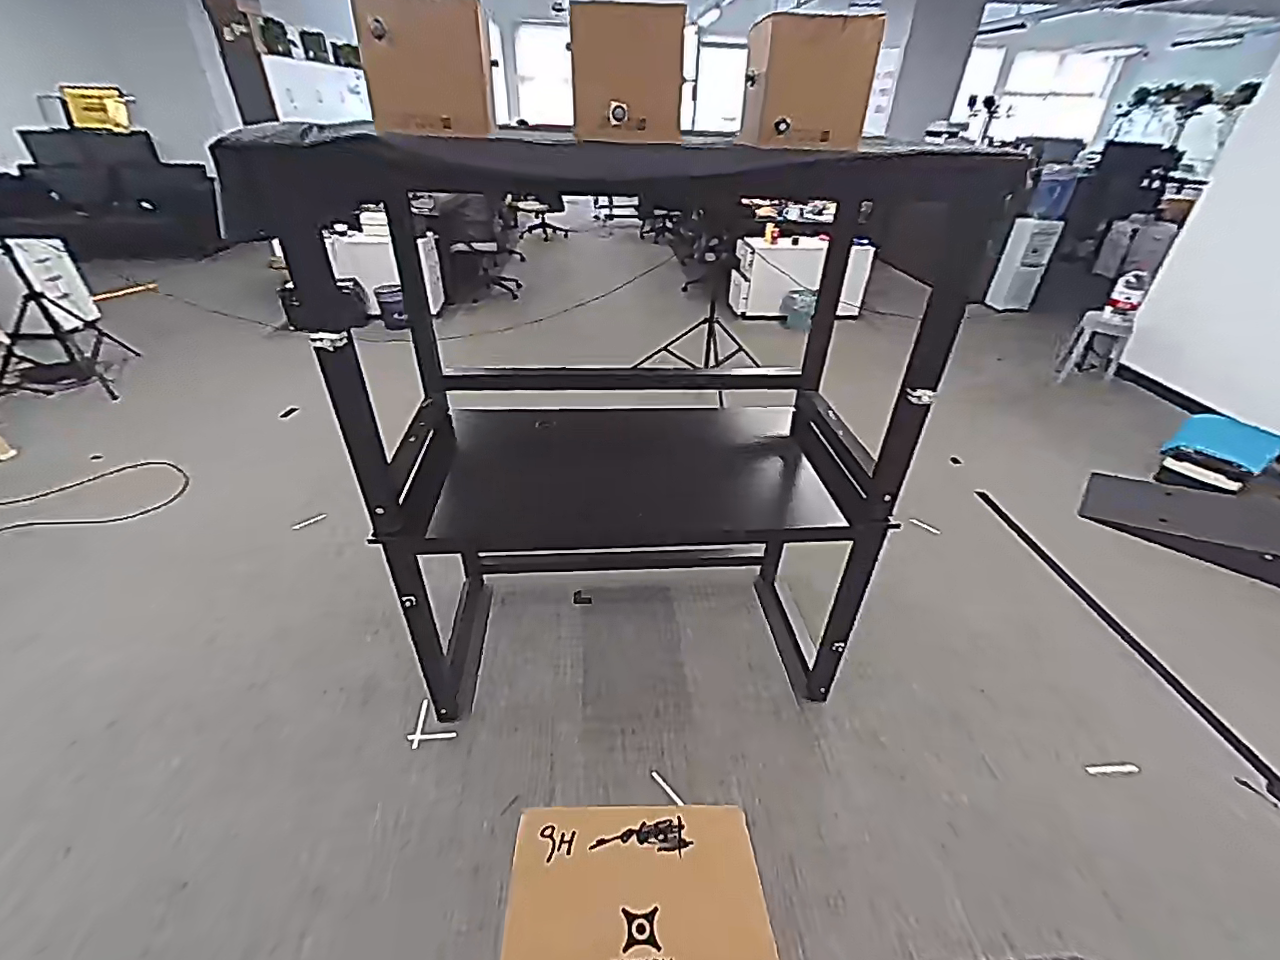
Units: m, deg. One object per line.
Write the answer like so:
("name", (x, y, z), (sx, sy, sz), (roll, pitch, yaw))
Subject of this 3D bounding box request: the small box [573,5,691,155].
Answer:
("small box", (-0.015, -0.616, 0.848), (0.168, 0.176, 0.179), (0, 33, -2))

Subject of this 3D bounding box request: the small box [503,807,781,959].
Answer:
("small box", (-0.003, 0.351, 0.354), (0.168, 0.176, 0.179), (3, 26, -5))

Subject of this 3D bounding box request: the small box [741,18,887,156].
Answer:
("small box", (0.267, -0.627, 0.876), (0.168, 0.176, 0.179), (0, 33, -3))
